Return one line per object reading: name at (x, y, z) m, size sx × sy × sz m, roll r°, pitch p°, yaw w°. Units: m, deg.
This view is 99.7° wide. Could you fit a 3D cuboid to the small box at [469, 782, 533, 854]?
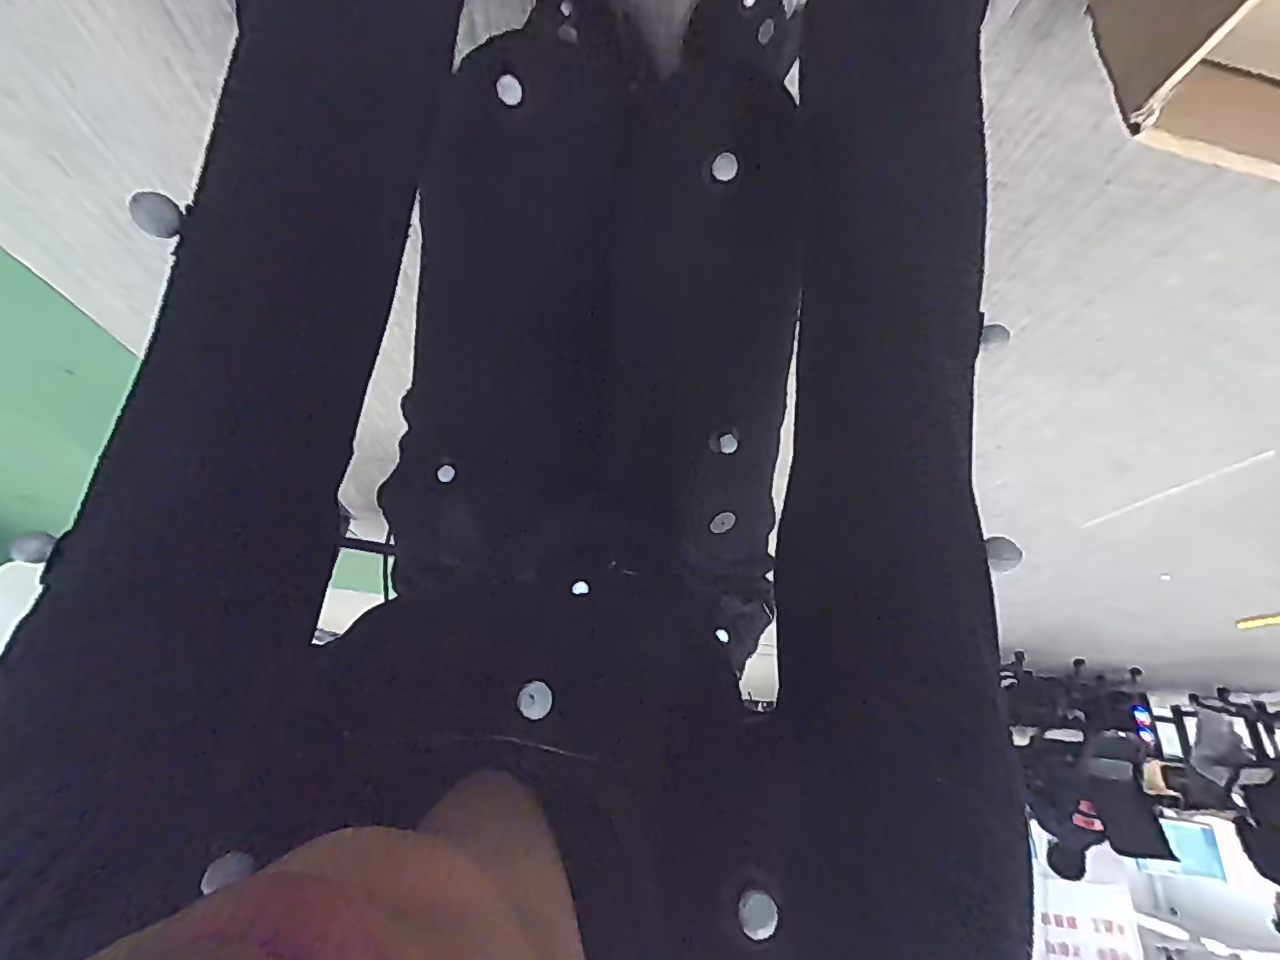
small box at (-0.451, 1.099, 1.773) m, size 0.168 × 0.176 × 0.179 m, roll 12°, pitch 155°, yaw -8°
